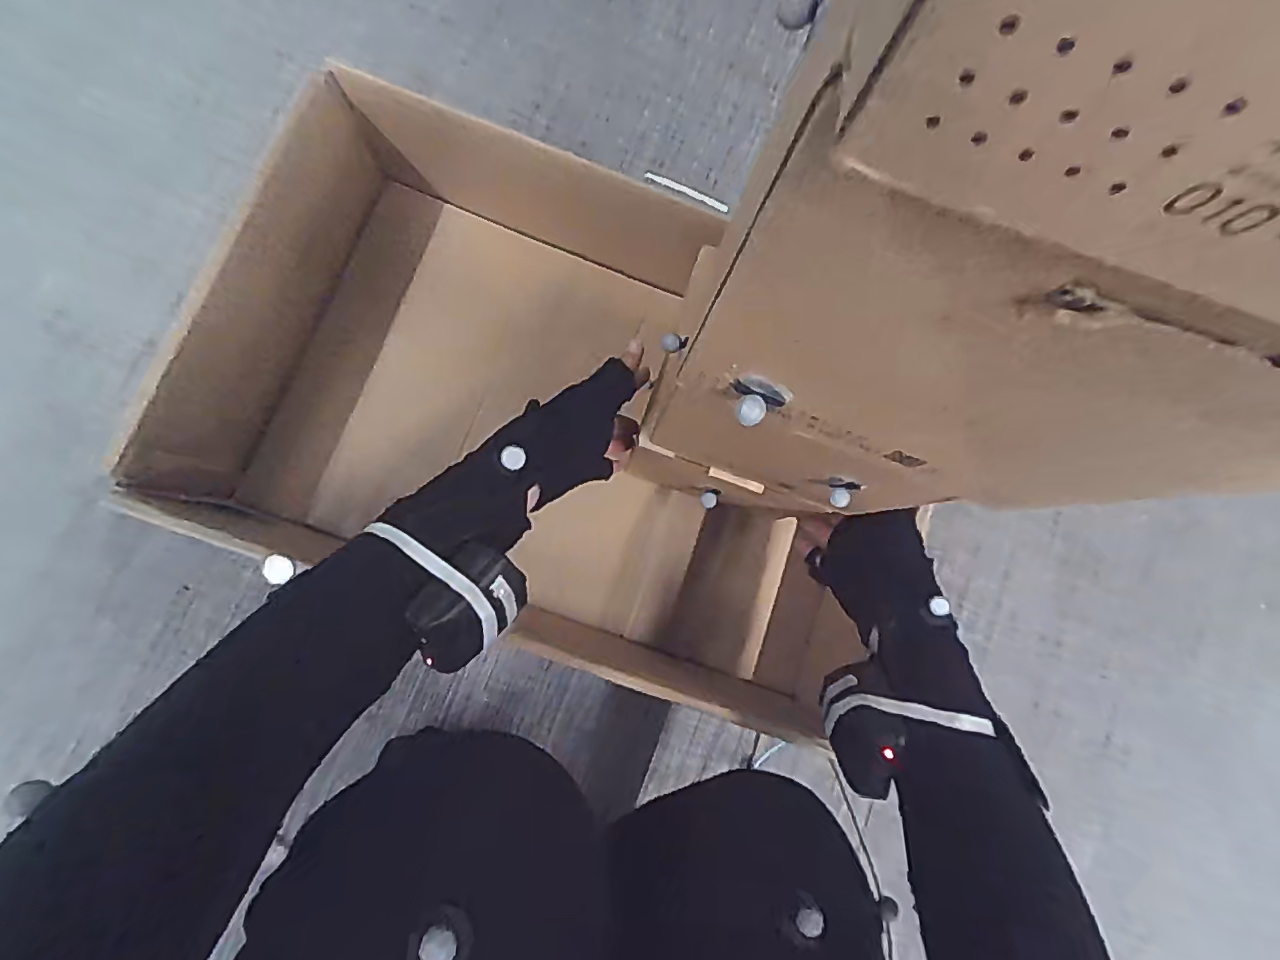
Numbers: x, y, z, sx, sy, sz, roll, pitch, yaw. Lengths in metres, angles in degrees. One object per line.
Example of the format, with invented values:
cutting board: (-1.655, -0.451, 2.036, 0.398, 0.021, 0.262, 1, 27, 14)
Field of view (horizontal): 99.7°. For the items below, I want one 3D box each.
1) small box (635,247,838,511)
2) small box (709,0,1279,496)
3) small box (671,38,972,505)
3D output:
small box: (0.095, -0.075, 0.504, 0.168, 0.176, 0.179, 16, 82, -2)
small box: (0.133, -0.103, 0.178, 0.168, 0.176, 0.179, 21, 82, -3)
small box: (0.124, -0.093, 0.325, 0.168, 0.176, 0.179, 21, 82, -2)
